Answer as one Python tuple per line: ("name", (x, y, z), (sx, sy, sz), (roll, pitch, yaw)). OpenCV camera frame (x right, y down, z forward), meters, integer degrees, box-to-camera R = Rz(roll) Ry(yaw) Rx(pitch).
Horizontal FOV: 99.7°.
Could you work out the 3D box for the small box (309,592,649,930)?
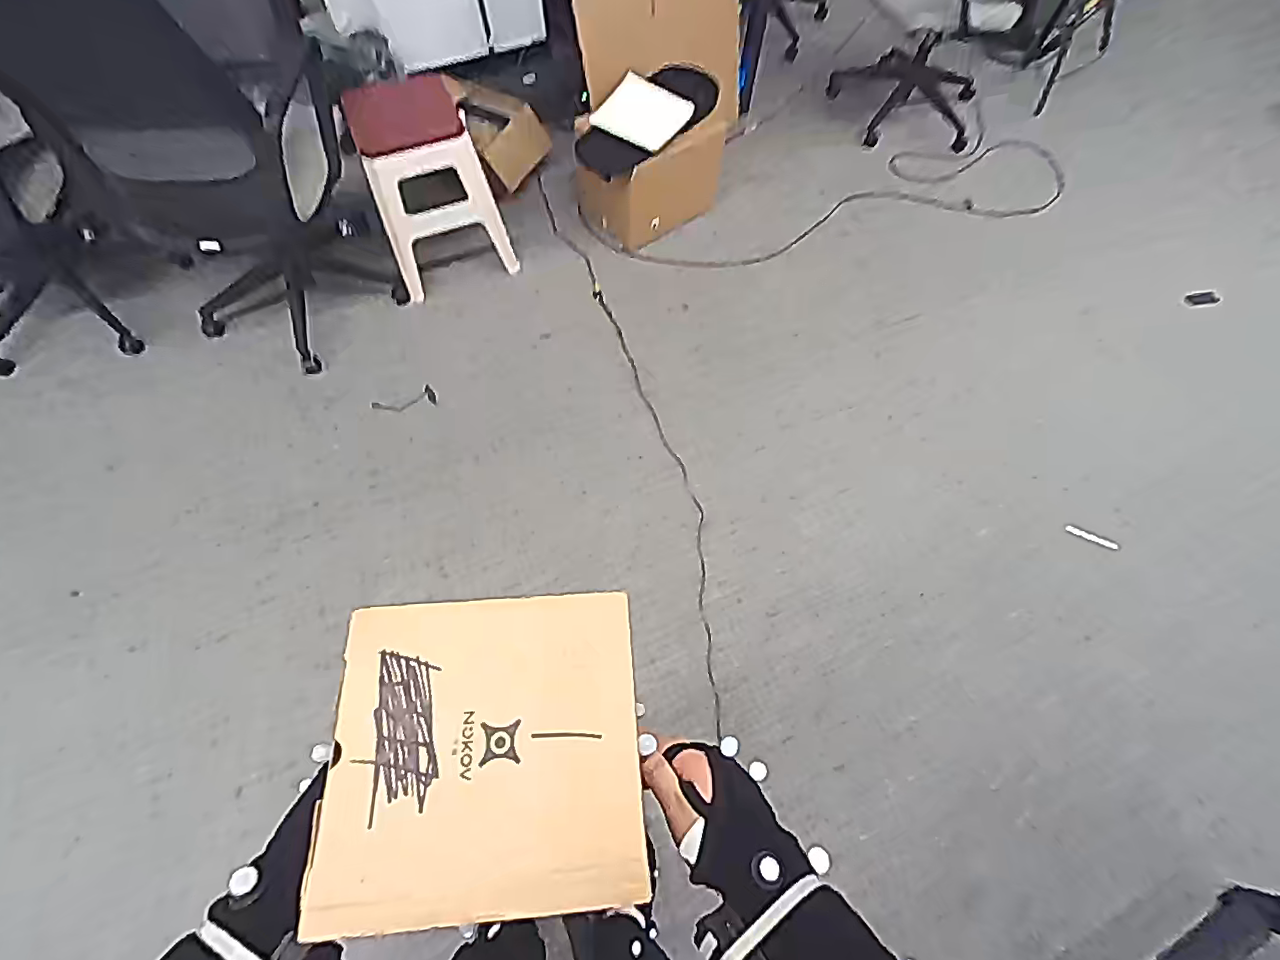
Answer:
("small box", (-0.088, 0.186, 0.381), (0.179, 0.176, 0.168), (-3, 63, -4))
